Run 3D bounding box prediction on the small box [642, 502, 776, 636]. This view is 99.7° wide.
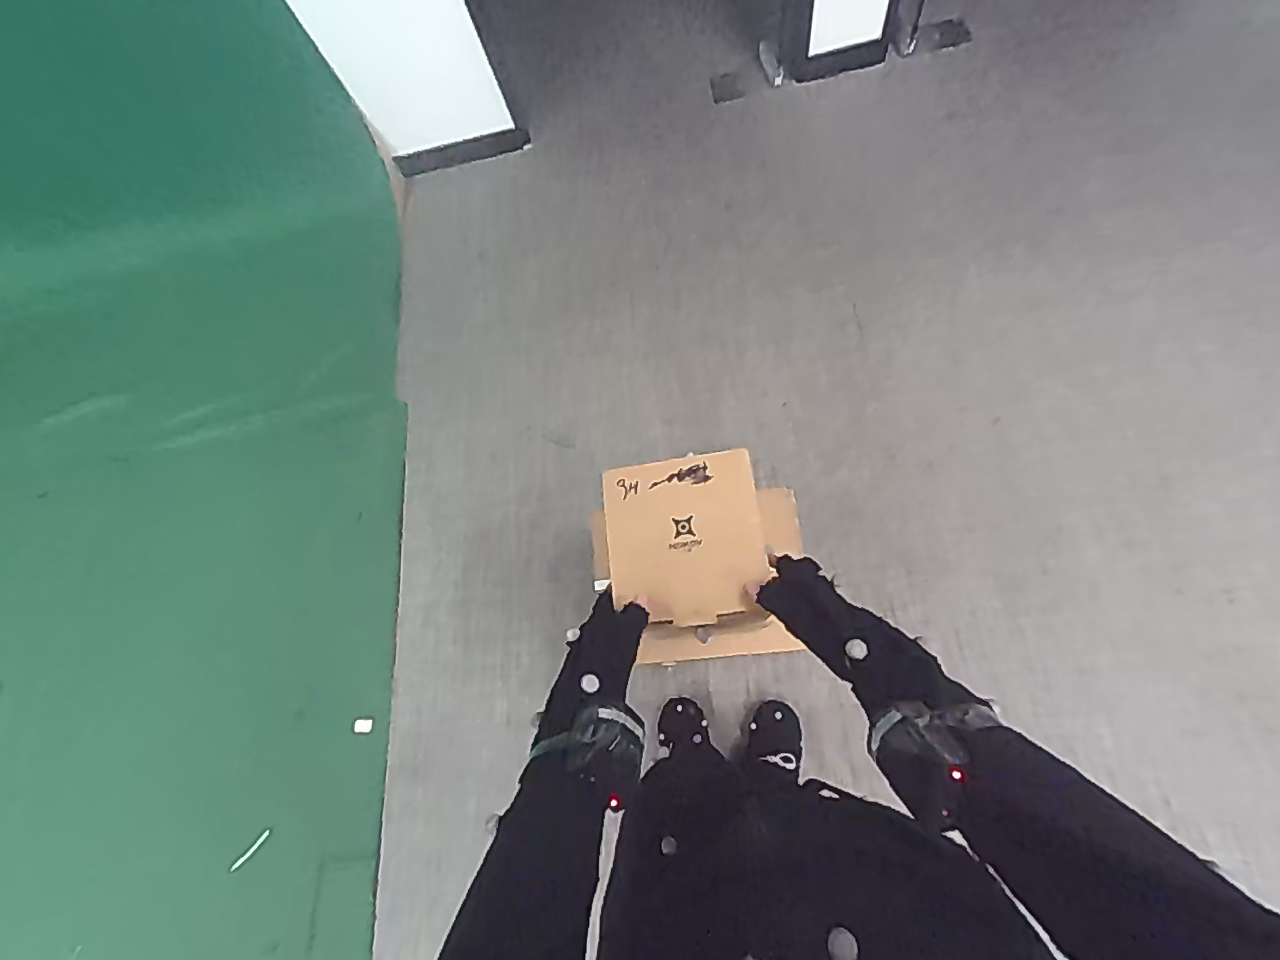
[{"bbox_3d":[0.095,0.137,0.796,0.179,0.176,0.168,-9,71,9],"label":"small box"}]

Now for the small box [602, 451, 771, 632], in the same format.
[{"bbox_3d":[0.060,0.084,0.645,0.168,0.176,0.179,-9,71,9],"label":"small box"}]
